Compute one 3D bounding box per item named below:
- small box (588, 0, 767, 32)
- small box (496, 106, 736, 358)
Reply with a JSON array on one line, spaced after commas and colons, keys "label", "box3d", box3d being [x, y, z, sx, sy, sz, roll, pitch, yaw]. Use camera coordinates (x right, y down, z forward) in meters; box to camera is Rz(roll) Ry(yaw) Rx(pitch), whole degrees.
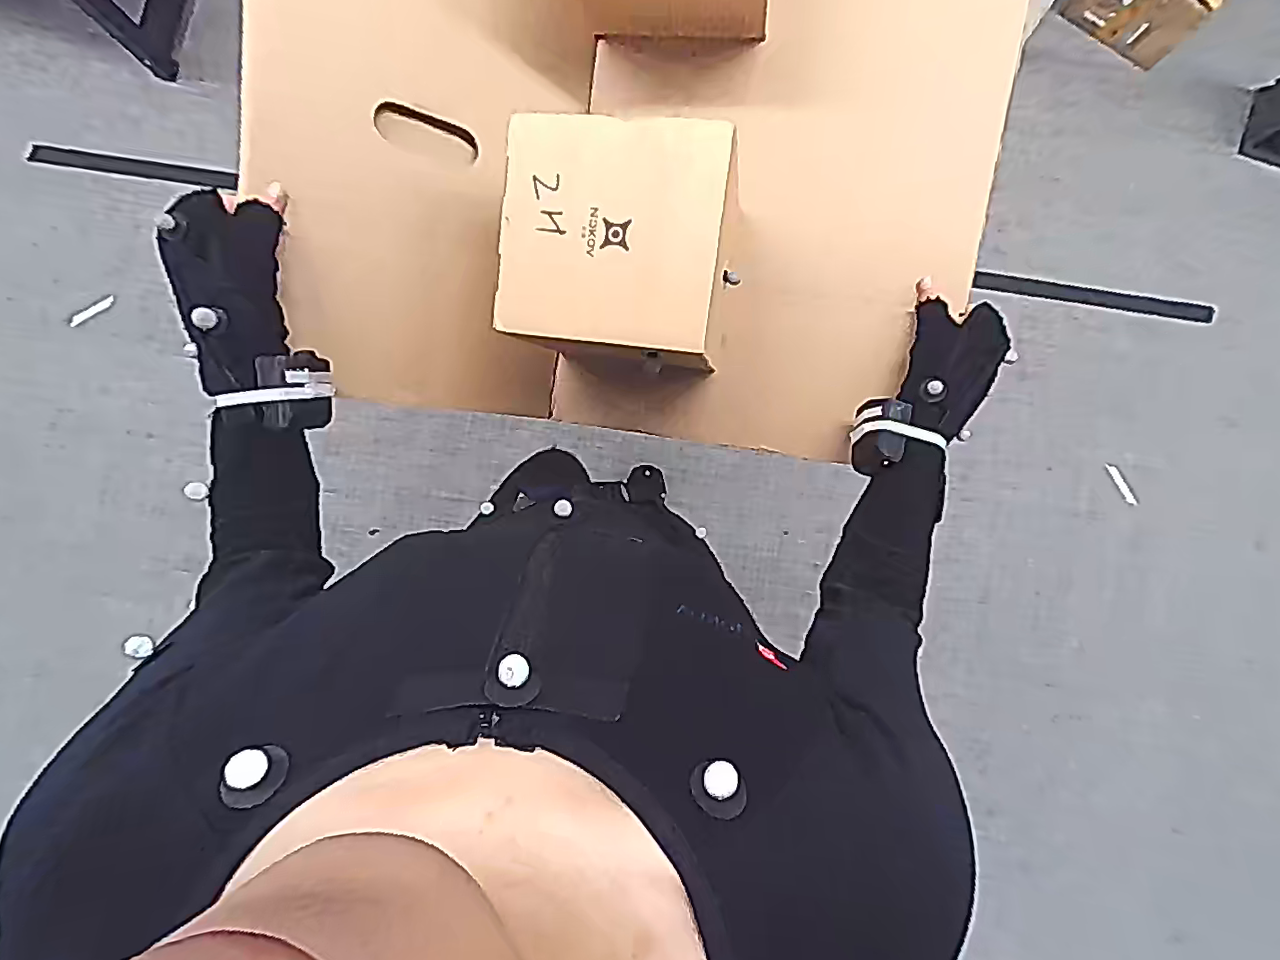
[{"label": "small box", "box3d": [0.030, -0.520, 0.453, 0.179, 0.176, 0.168, 9, 99, 9]}, {"label": "small box", "box3d": [-0.010, -0.210, 0.499, 0.179, 0.176, 0.168, 9, 98, 11]}]
